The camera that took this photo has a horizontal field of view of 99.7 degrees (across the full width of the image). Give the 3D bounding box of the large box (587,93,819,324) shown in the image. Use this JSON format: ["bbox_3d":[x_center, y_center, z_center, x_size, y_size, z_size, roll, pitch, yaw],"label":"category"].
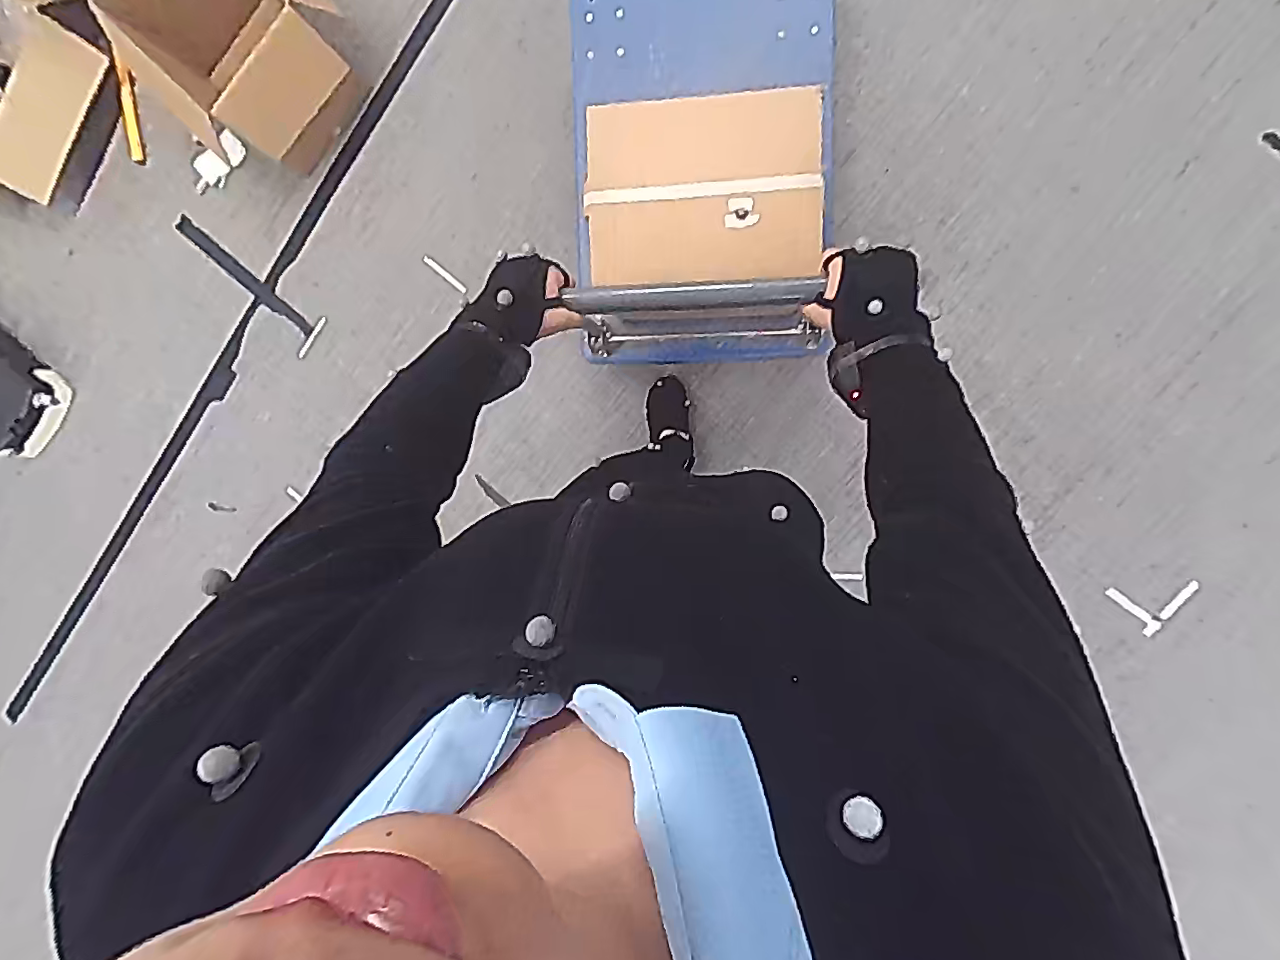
[{"bbox_3d":[0.121,-0.511,1.093,0.408,0.320,0.320,-1,96,6],"label":"large box"}]
